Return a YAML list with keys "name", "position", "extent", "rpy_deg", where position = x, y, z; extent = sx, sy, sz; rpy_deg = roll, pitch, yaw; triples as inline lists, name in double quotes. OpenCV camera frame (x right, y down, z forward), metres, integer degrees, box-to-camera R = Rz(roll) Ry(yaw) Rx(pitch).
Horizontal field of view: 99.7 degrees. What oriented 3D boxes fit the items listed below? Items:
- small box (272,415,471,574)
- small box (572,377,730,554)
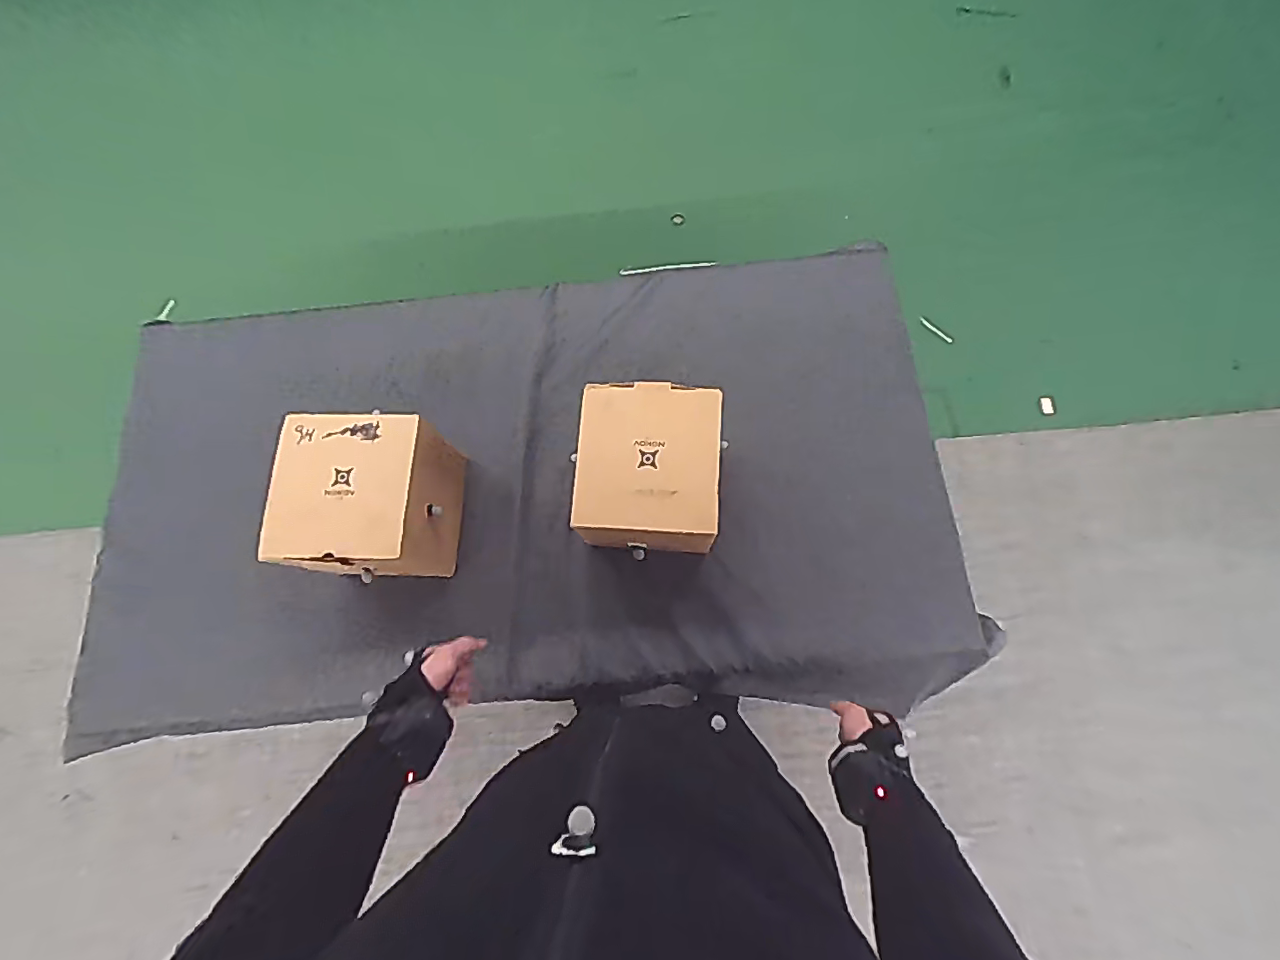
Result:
- name: "small box"
  position: [-0.333, 0.029, 0.706]
  extent: [0.168, 0.176, 0.179]
  rpy_deg: [-3, 74, 3]
- name: "small box"
  position: [0.019, -0.011, 0.682]
  extent: [0.168, 0.176, 0.179]
  rpy_deg: [4, 75, 6]
